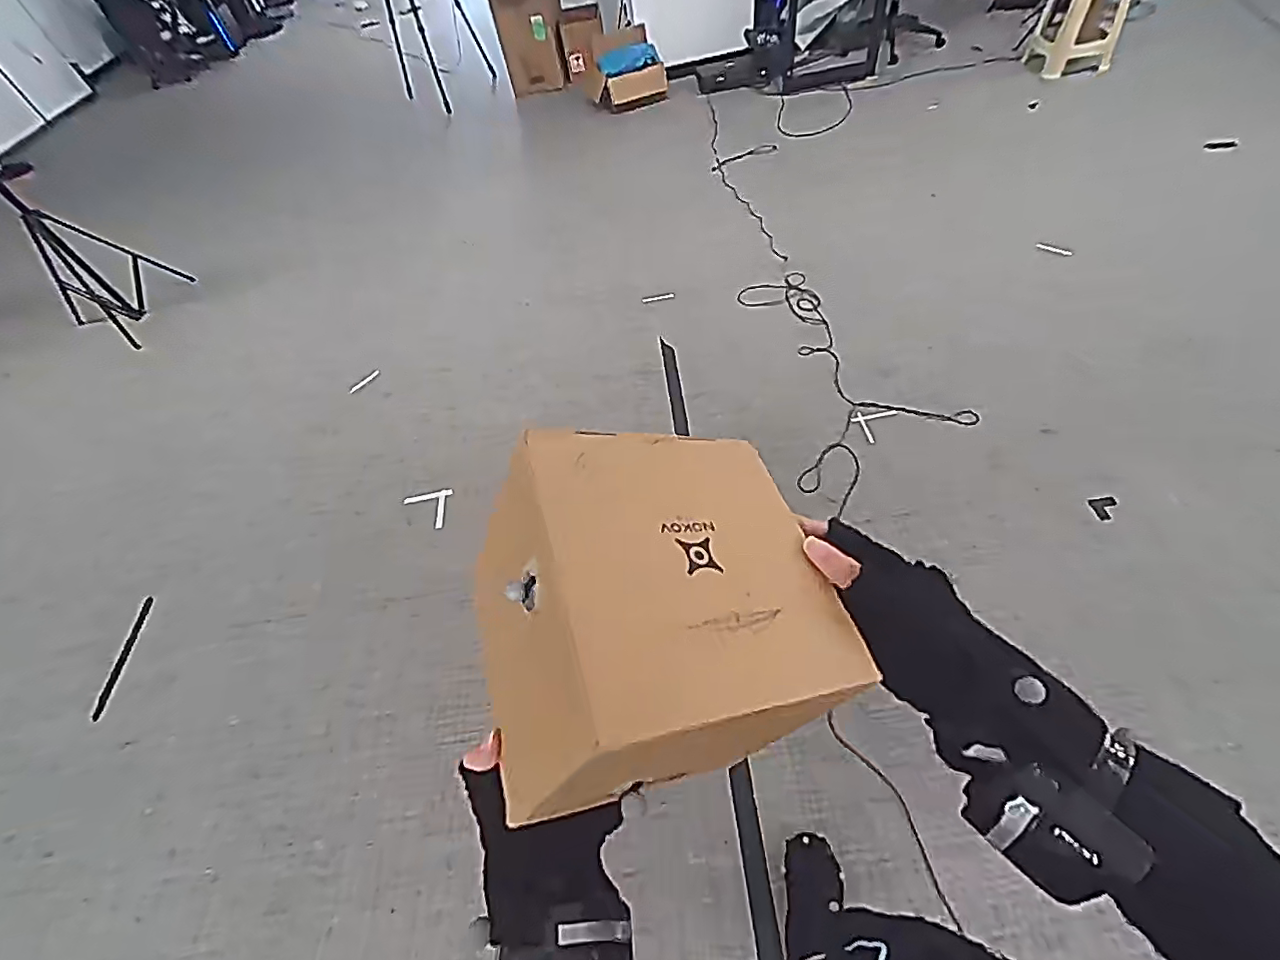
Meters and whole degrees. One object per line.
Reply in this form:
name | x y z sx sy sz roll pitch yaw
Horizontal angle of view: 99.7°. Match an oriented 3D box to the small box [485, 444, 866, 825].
small box | 0.000 0.097 0.363 0.168 0.176 0.179 0 50 -28
